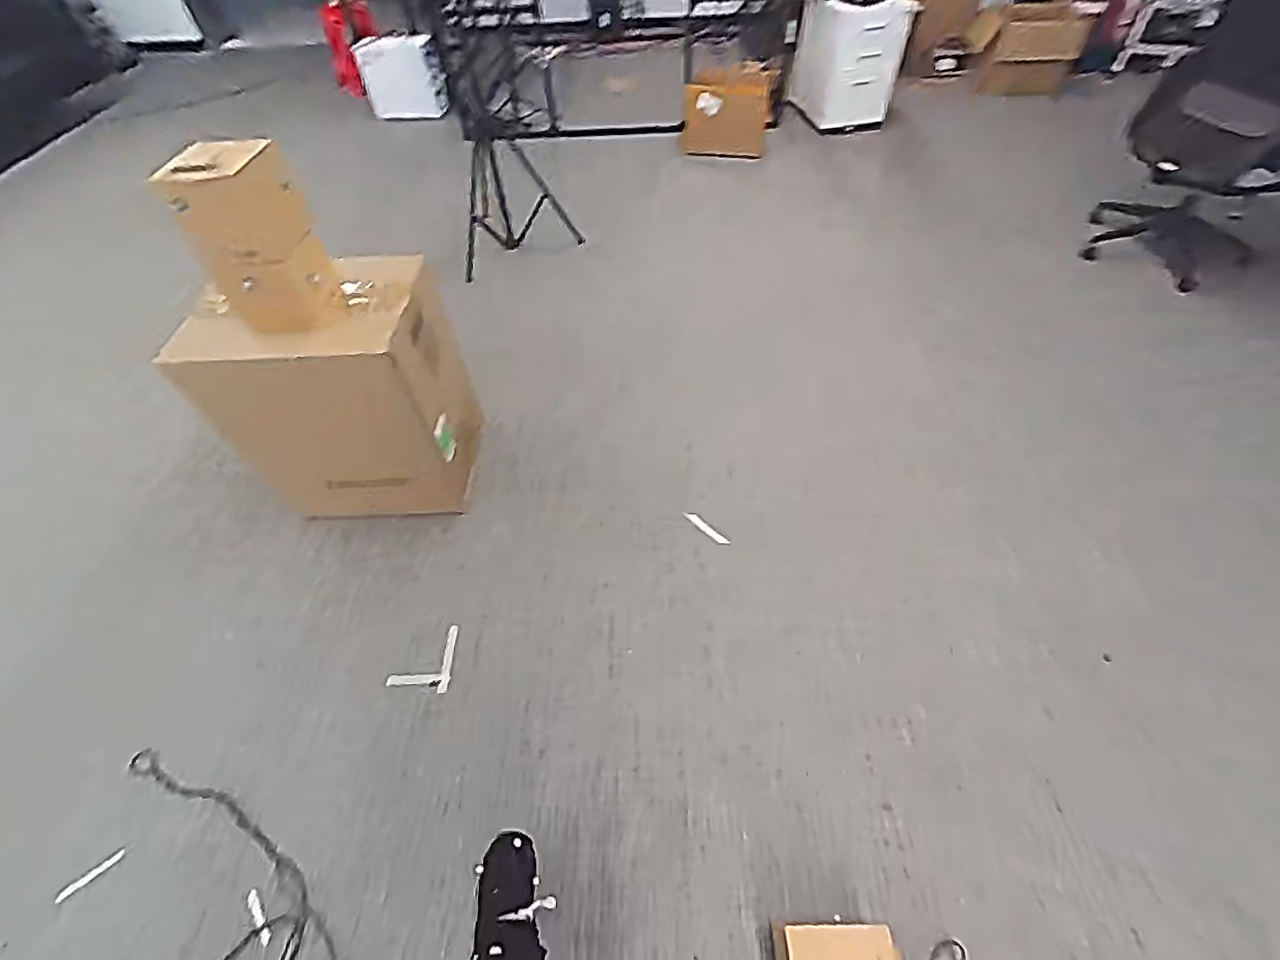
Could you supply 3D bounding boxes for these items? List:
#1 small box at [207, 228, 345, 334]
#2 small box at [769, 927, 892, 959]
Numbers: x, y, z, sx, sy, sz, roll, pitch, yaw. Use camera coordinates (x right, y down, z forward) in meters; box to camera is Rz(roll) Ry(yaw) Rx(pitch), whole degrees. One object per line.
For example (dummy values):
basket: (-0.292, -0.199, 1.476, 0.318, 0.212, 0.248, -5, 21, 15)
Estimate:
small box: (-0.812, -0.449, 1.231, 0.179, 0.176, 0.168, -2, 52, 1)
small box: (0.330, 0.873, 0.923, 0.179, 0.176, 0.168, -2, 51, 2)
